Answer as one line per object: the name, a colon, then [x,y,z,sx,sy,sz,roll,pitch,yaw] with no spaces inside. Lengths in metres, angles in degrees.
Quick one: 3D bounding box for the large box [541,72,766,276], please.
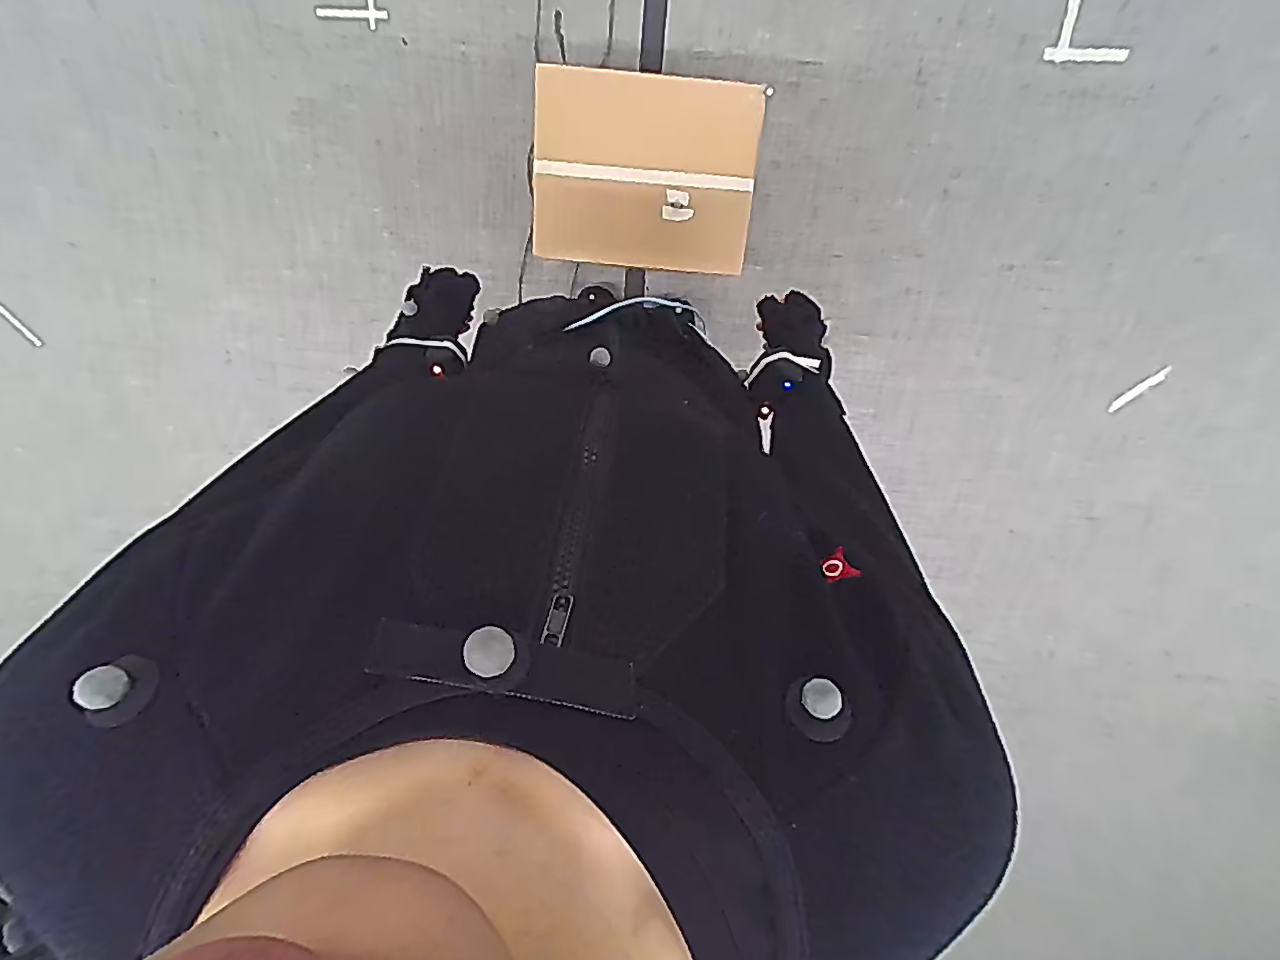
large box: [0.015,-0.609,1.140,0.408,0.320,0.320,4,111,-1]
